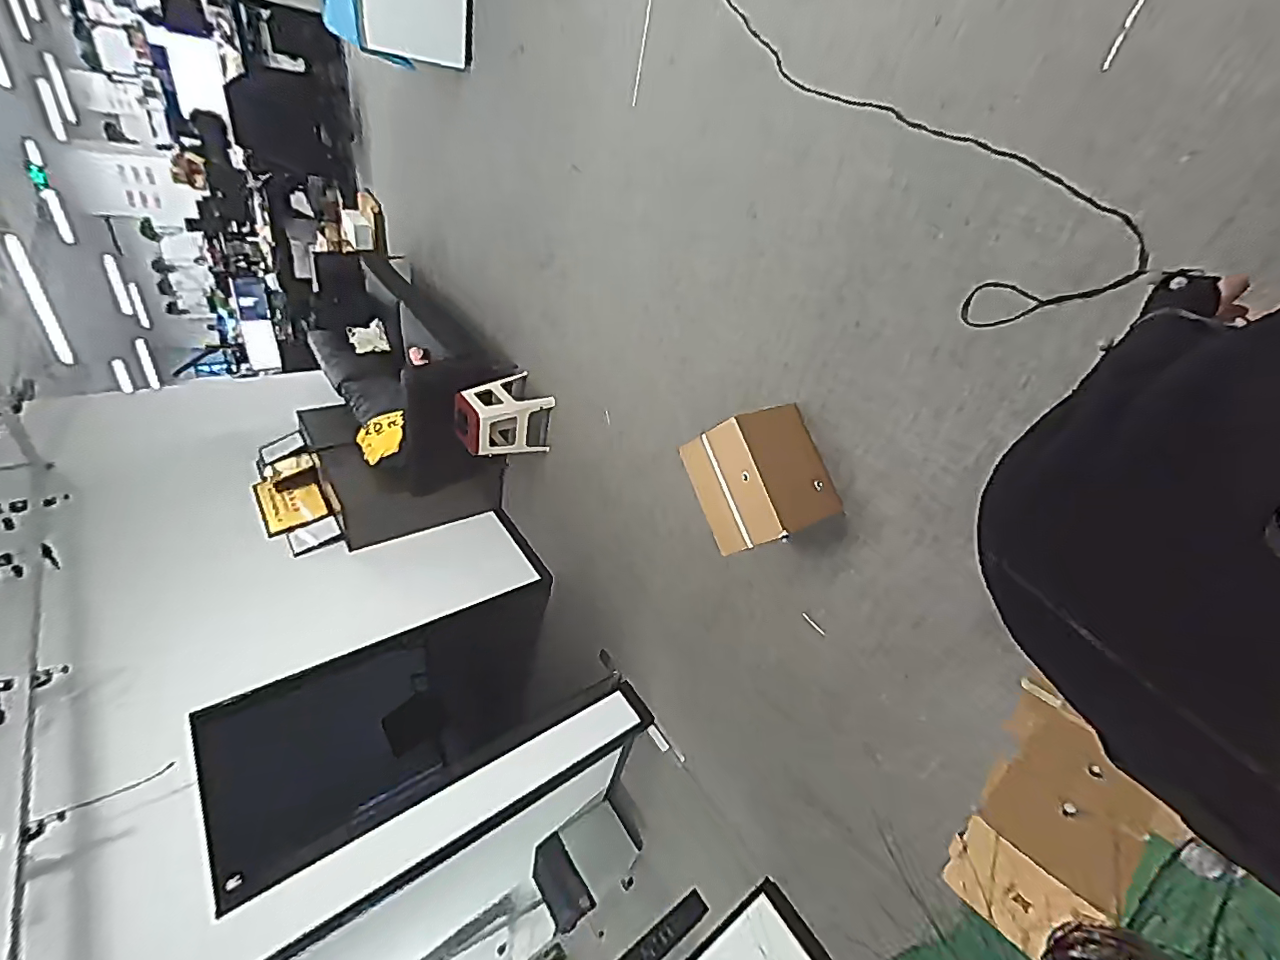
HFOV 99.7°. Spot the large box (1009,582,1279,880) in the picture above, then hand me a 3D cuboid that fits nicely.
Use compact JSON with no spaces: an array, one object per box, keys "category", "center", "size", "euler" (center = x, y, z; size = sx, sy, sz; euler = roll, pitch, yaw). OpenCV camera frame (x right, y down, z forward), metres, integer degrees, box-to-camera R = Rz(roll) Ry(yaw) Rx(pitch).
[{"category":"large box","center":[1.087,0.476,1.124],"size":[0.408,0.320,0.320],"euler":[31,128,43]}]

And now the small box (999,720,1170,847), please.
[{"category":"small box","center":[0.739,0.542,0.918],"size":[0.179,0.176,0.168],"euler":[31,127,44]}]

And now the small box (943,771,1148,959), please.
[{"category":"small box","center":[0.610,0.582,0.823],"size":[0.179,0.176,0.168],"euler":[33,128,45]}]
